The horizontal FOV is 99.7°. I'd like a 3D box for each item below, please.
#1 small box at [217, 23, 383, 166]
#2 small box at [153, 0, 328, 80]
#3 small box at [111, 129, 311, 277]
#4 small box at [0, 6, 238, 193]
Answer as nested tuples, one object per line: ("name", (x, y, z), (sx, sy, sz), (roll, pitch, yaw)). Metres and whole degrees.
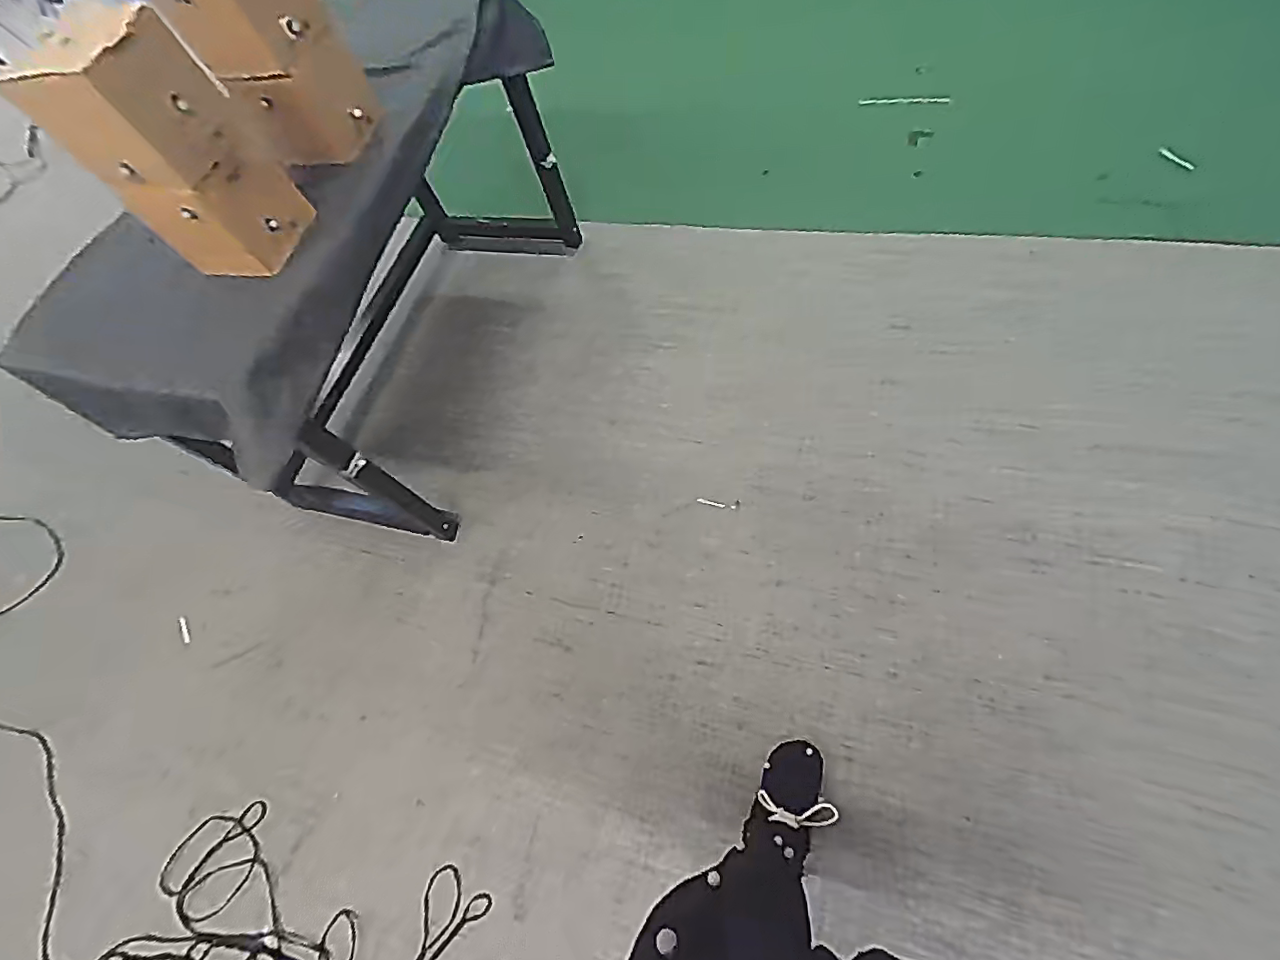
("small box", (-0.649, -0.741, 1.053), (0.179, 0.176, 0.168), (8, 67, 16))
("small box", (-0.681, -0.808, 0.909), (0.179, 0.176, 0.168), (10, 68, 16))
("small box", (-0.732, -0.476, 0.943), (0.179, 0.176, 0.168), (7, 66, 15))
("small box", (-0.758, -0.551, 0.801), (0.179, 0.176, 0.168), (6, 65, 13))
